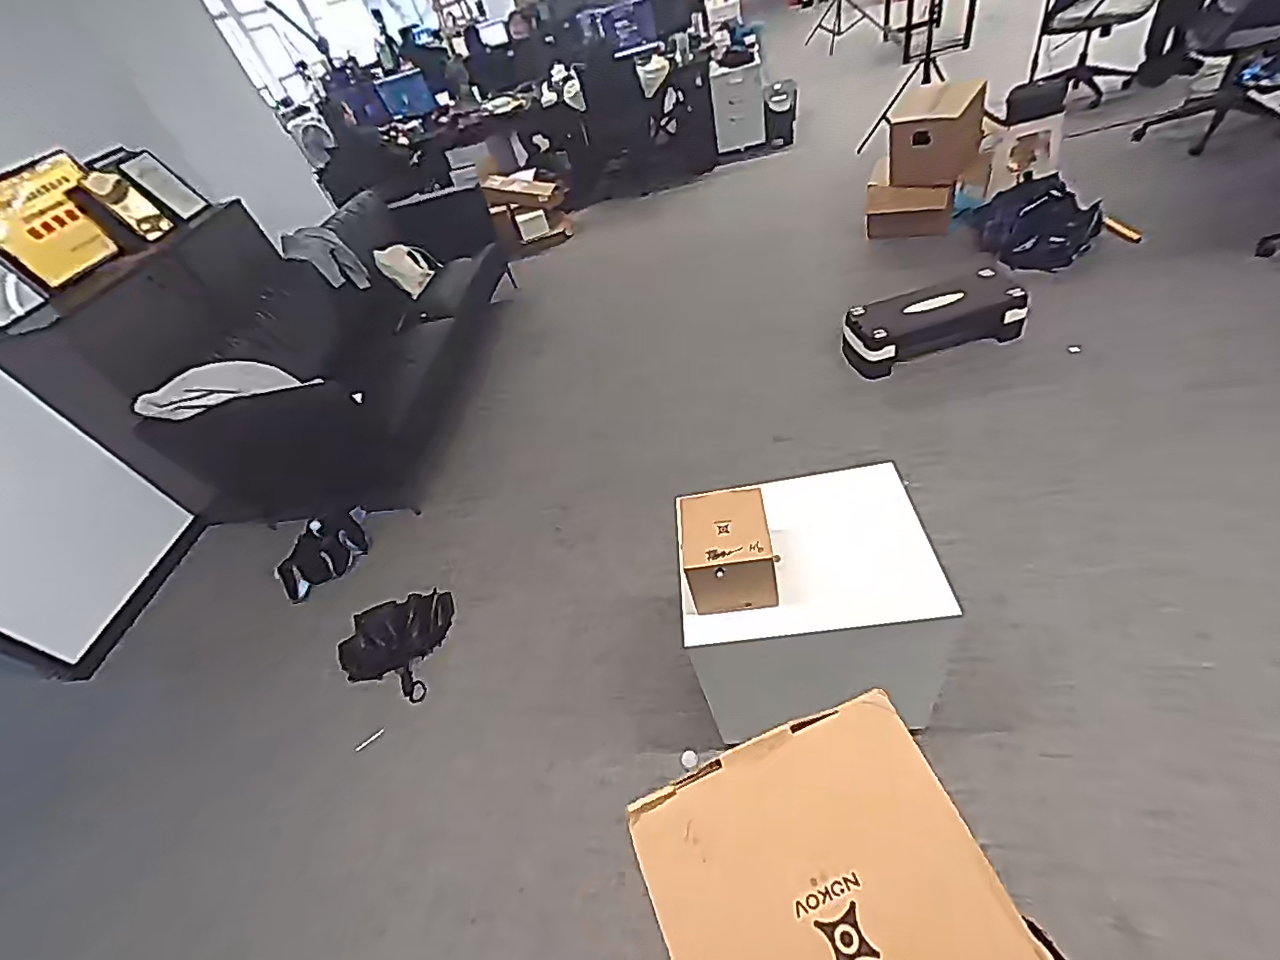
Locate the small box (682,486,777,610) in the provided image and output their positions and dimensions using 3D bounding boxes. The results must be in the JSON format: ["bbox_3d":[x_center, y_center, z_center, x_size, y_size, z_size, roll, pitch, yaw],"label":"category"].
[{"bbox_3d":[0.178,0.138,1.085,0.168,0.176,0.179,-8,44,11],"label":"small box"}]

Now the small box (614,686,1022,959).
[{"bbox_3d":[0.094,0.256,0.339,0.168,0.176,0.179,-21,61,-6],"label":"small box"}]
